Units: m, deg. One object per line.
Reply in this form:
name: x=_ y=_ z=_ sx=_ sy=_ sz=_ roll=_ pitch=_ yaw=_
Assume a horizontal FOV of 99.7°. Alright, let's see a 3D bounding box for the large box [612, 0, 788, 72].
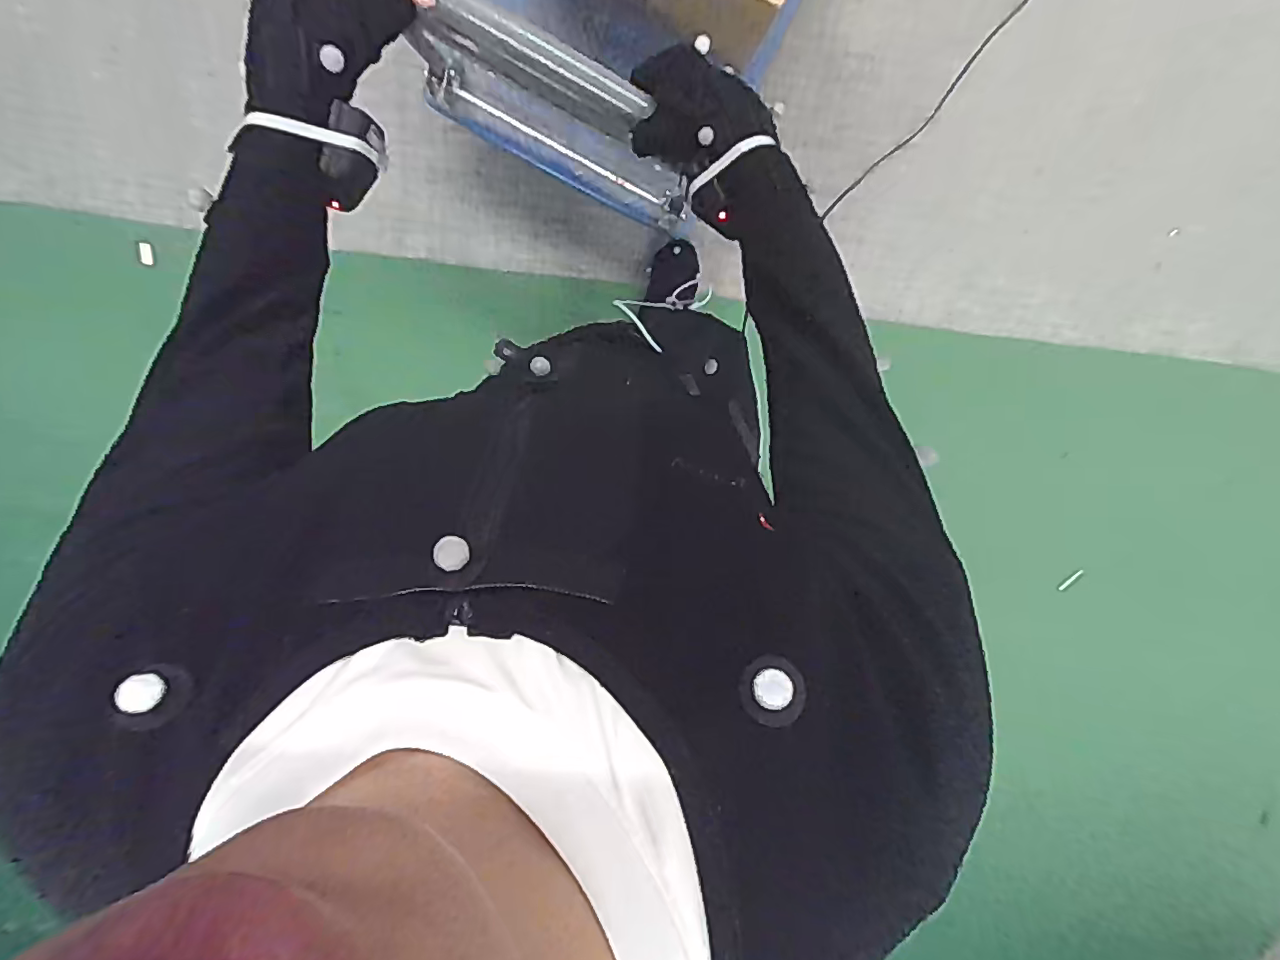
large box: x=0.084 y=-0.914 z=0.814 sx=0.408 sy=0.320 sz=0.320 roll=24 pitch=111 yaw=-8
